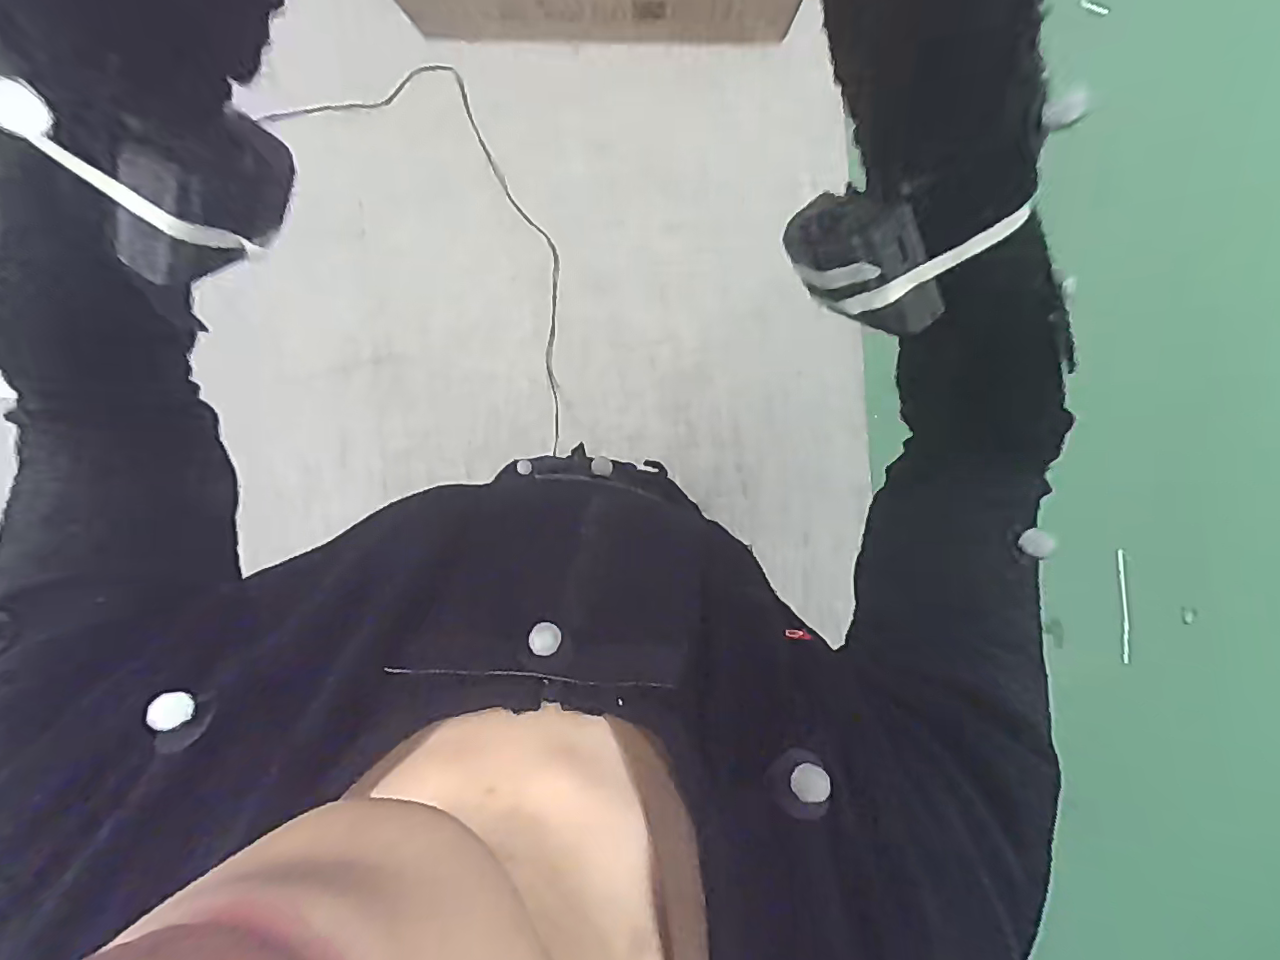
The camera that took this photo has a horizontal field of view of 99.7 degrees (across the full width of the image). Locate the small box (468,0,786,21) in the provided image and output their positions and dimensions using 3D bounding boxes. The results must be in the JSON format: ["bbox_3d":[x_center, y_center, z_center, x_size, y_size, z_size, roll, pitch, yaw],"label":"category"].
[{"bbox_3d":[-0.014,-0.268,0.148,0.168,0.176,0.179,1,105,1],"label":"small box"}]
